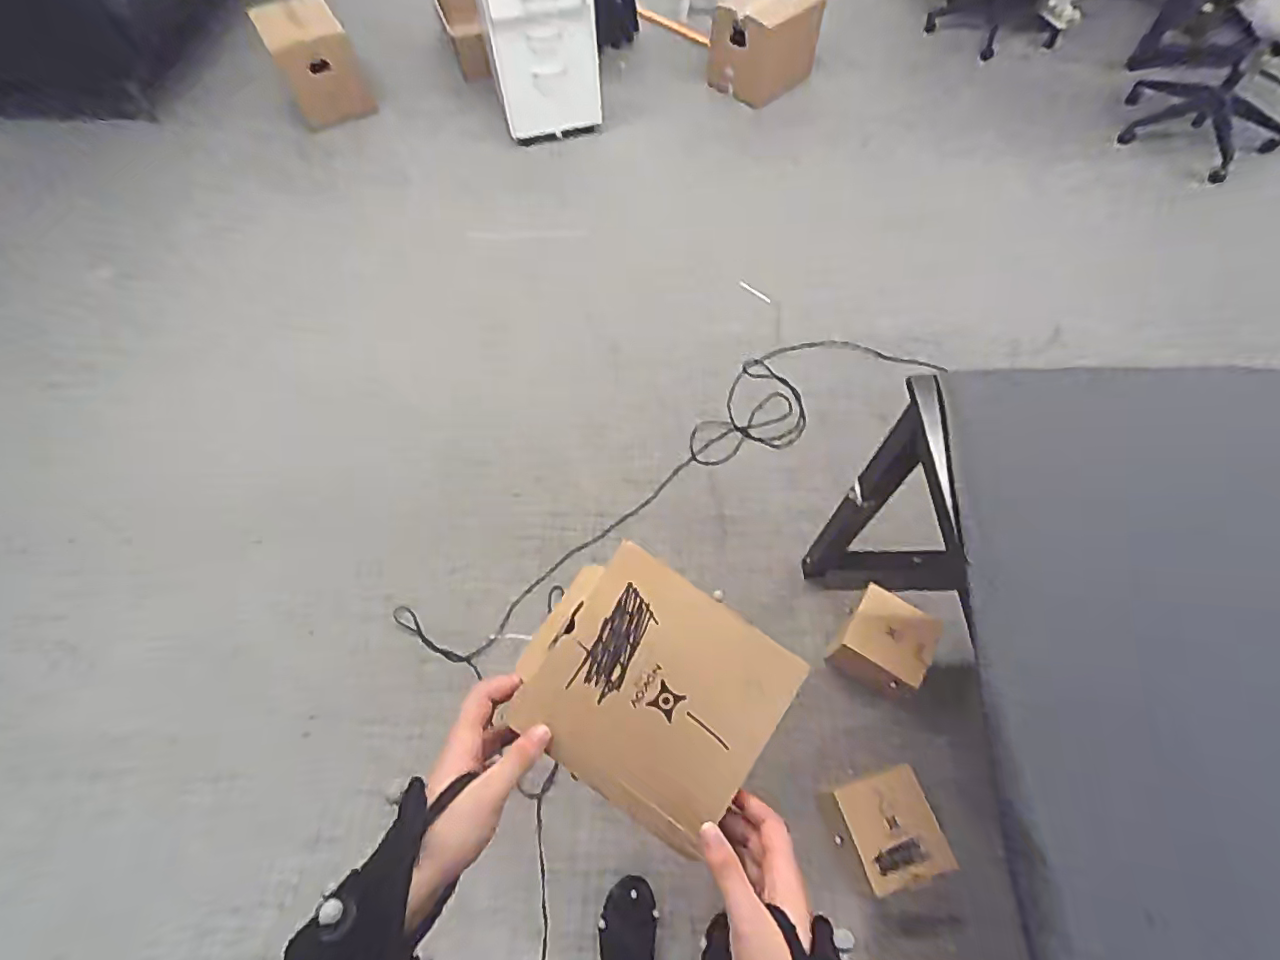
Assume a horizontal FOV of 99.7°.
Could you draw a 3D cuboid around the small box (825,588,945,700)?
[{"bbox_3d":[0.553,0.384,1.245,0.179,0.176,0.168,30,65,16],"label":"small box"}]
